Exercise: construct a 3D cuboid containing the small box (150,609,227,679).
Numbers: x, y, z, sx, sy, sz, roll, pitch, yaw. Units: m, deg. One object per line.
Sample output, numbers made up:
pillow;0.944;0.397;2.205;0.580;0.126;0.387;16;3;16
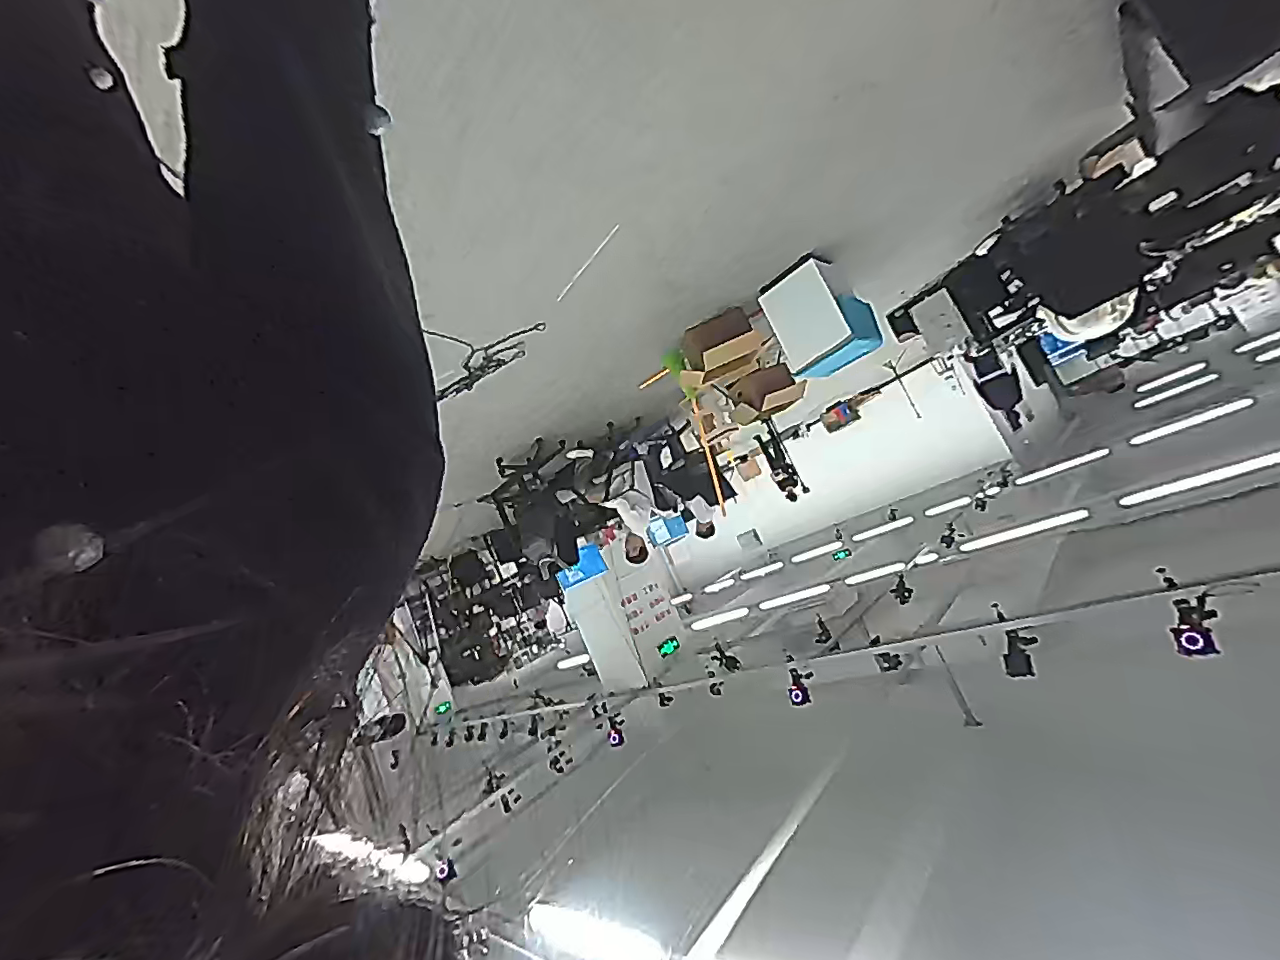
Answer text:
small box;-1.547;0.557;1.851;0.168;0.176;0.179;-16;169;-46
